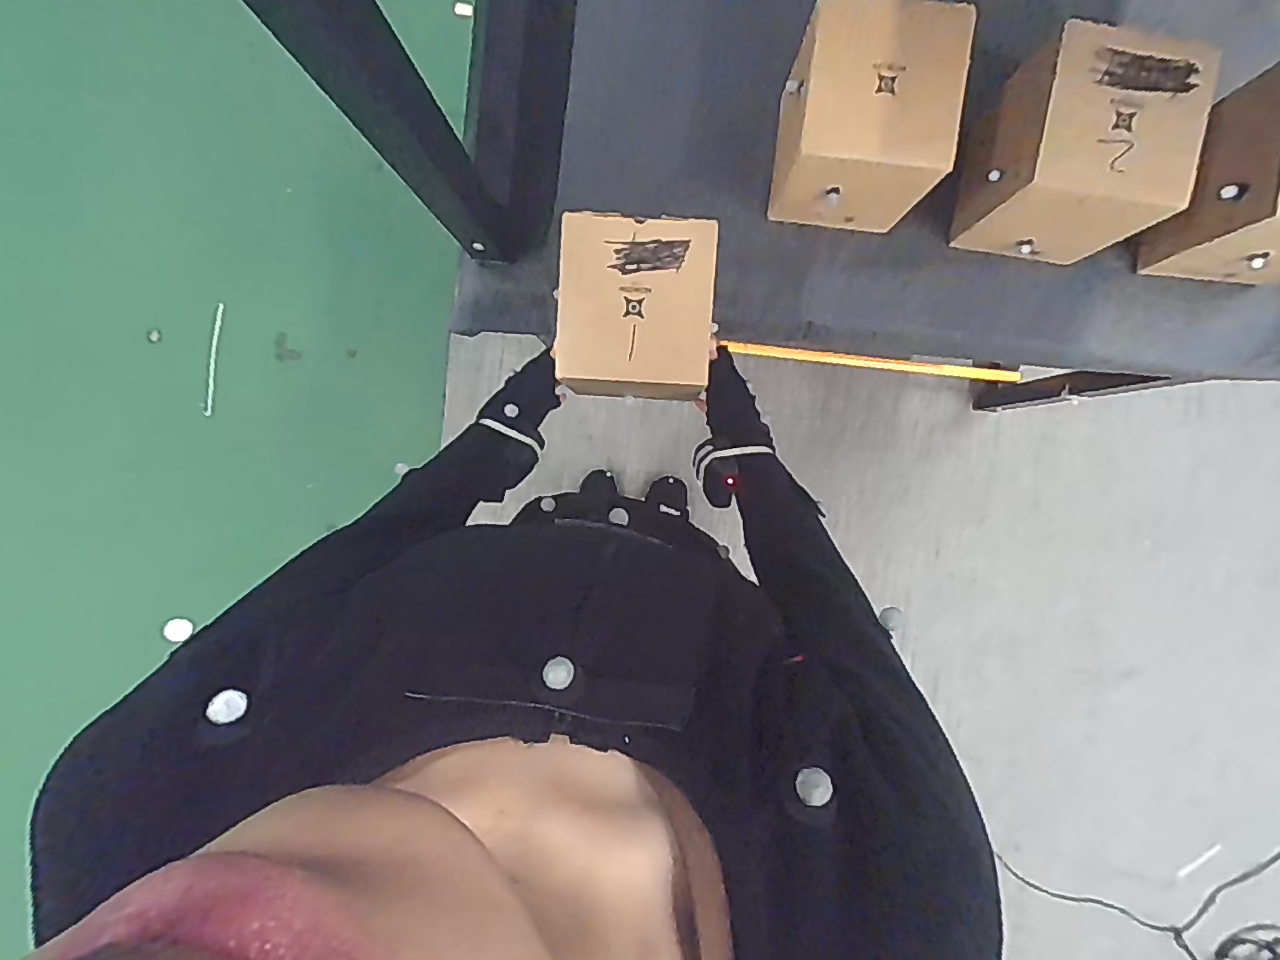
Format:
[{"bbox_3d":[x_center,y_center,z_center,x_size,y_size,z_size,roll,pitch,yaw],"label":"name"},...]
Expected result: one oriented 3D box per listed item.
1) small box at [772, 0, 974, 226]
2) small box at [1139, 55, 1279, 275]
[{"bbox_3d":[0.264,-0.433,0.656,0.168,0.176,0.179,7,92,1],"label":"small box"},{"bbox_3d":[0.752,-0.361,0.642,0.168,0.176,0.179,6,91,1],"label":"small box"}]
